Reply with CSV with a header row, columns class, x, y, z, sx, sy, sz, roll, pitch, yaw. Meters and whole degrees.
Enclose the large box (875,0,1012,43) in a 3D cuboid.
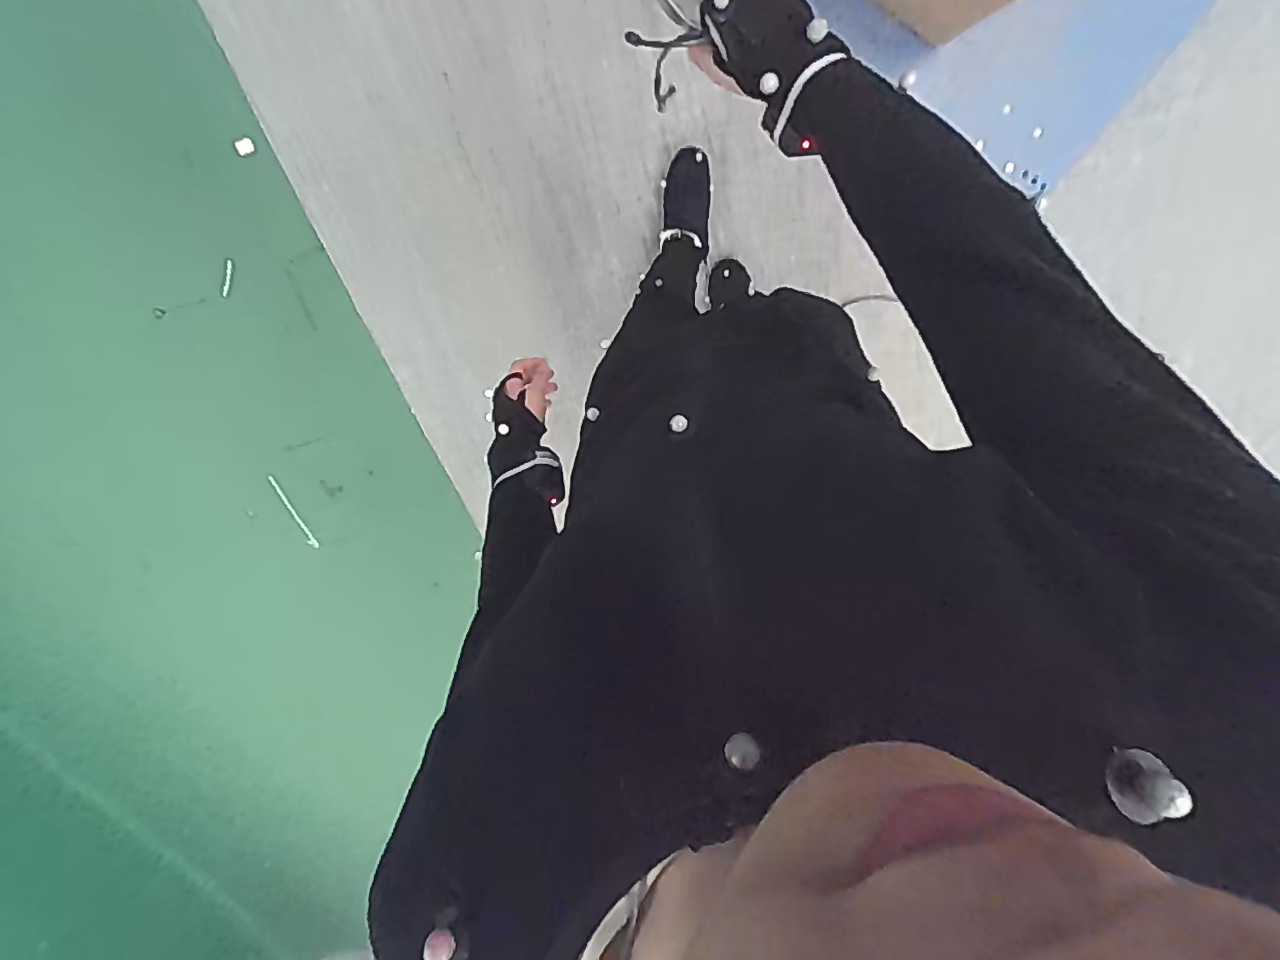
class,x,y,z,sx,sy,sz,roll,pitch,yaw
large box,0.451,-0.959,0.800,0.408,0.320,0.320,28,118,-9
